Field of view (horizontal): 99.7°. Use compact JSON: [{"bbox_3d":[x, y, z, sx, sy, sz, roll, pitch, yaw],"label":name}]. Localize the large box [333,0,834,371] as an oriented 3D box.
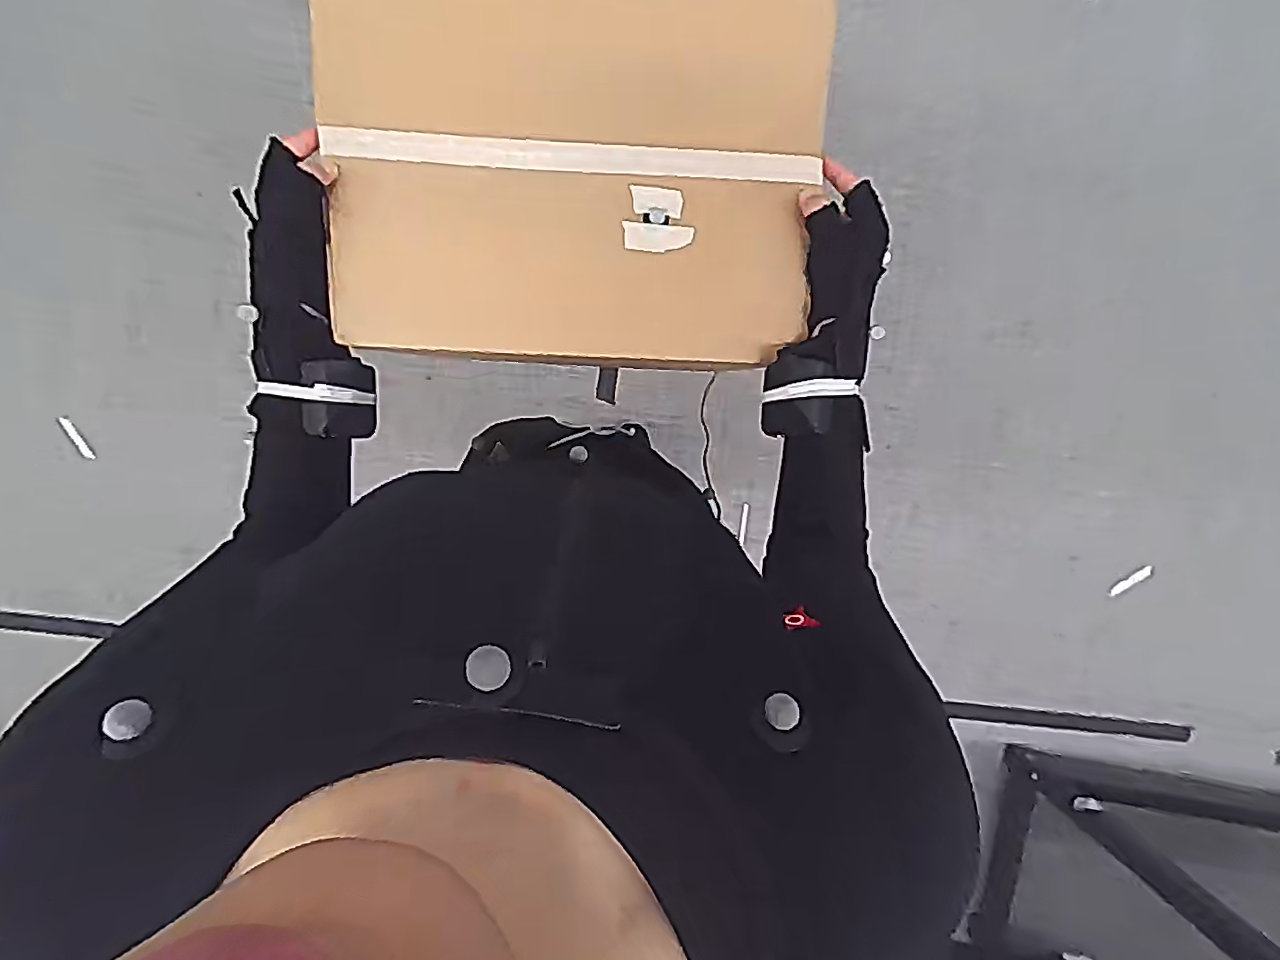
[{"bbox_3d":[-0.057,-0.287,0.597,0.408,0.320,0.320,2,102,-5],"label":"large box"}]
